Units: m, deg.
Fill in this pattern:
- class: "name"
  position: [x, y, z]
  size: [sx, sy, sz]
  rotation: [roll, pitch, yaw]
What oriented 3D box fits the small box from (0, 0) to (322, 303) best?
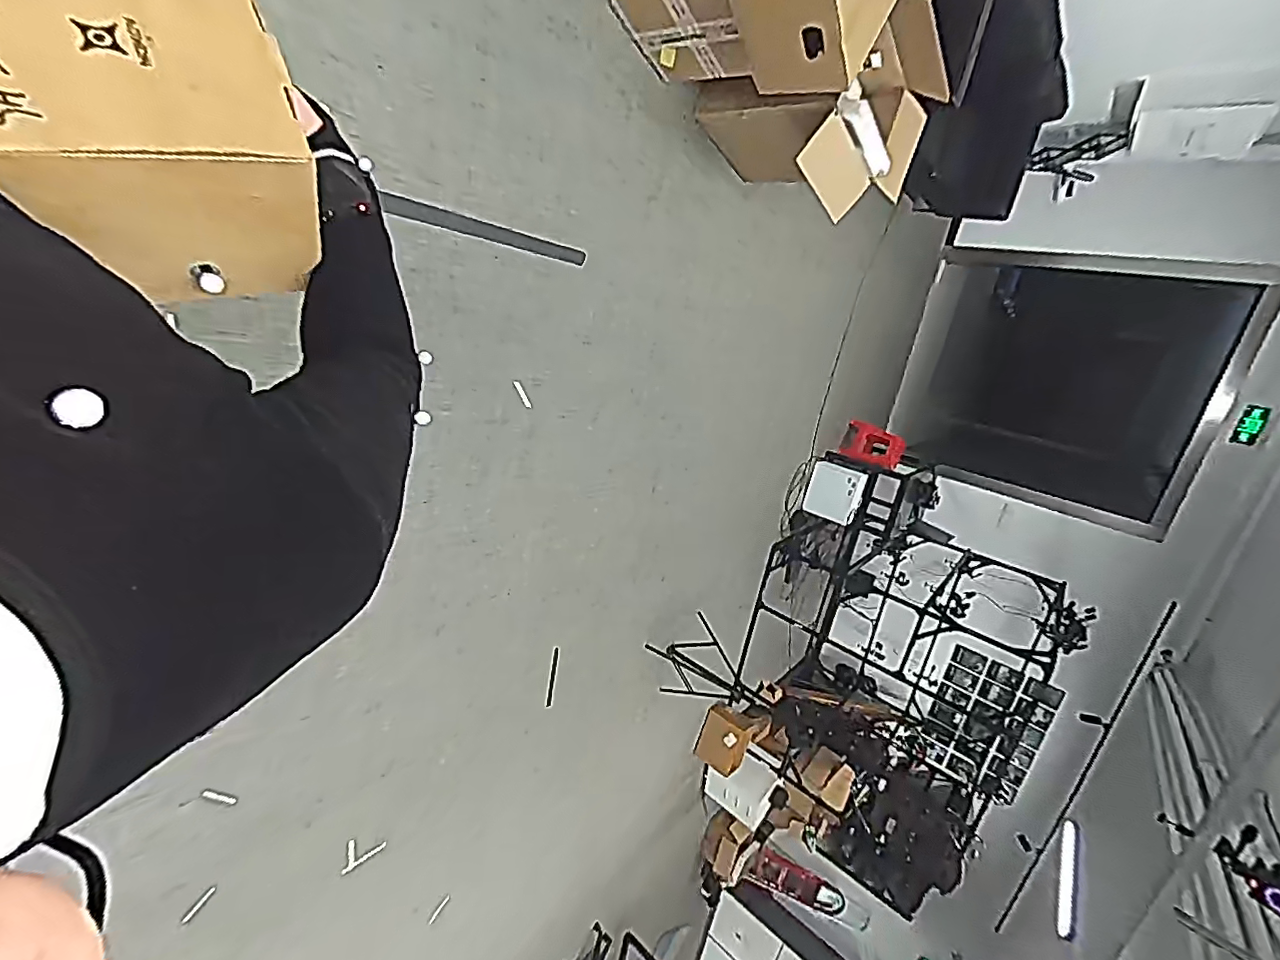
- class: "small box"
  position: [-0.374, -0.263, 0.430]
  size: [0.179, 0.176, 0.168]
  rotation: [-20, 84, -31]
